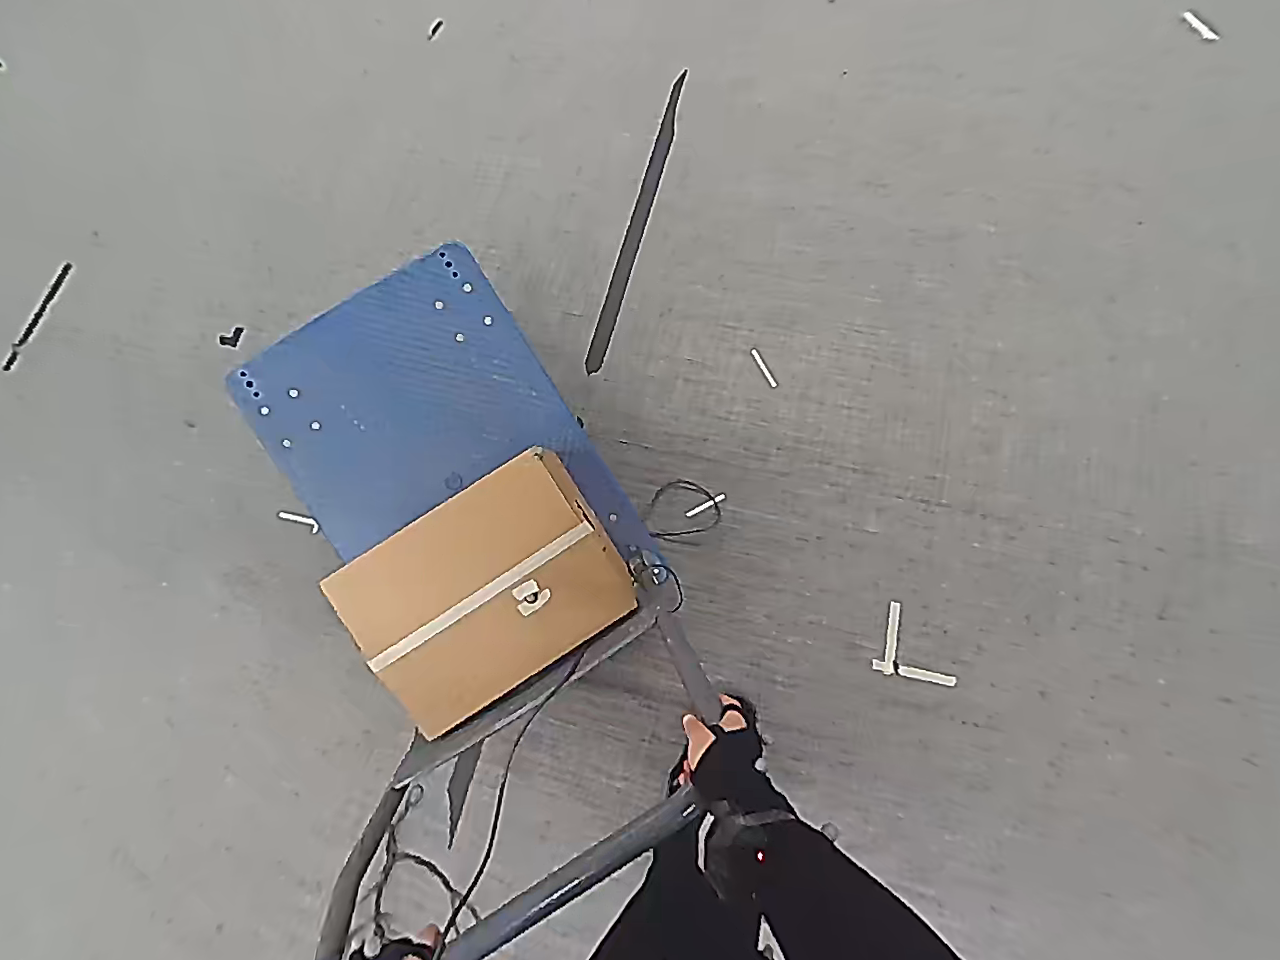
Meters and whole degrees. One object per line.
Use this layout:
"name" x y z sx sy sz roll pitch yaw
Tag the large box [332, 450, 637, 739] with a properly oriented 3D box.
"large box" -0.262 0.186 1.026 0.408 0.320 0.320 -33 94 -4
